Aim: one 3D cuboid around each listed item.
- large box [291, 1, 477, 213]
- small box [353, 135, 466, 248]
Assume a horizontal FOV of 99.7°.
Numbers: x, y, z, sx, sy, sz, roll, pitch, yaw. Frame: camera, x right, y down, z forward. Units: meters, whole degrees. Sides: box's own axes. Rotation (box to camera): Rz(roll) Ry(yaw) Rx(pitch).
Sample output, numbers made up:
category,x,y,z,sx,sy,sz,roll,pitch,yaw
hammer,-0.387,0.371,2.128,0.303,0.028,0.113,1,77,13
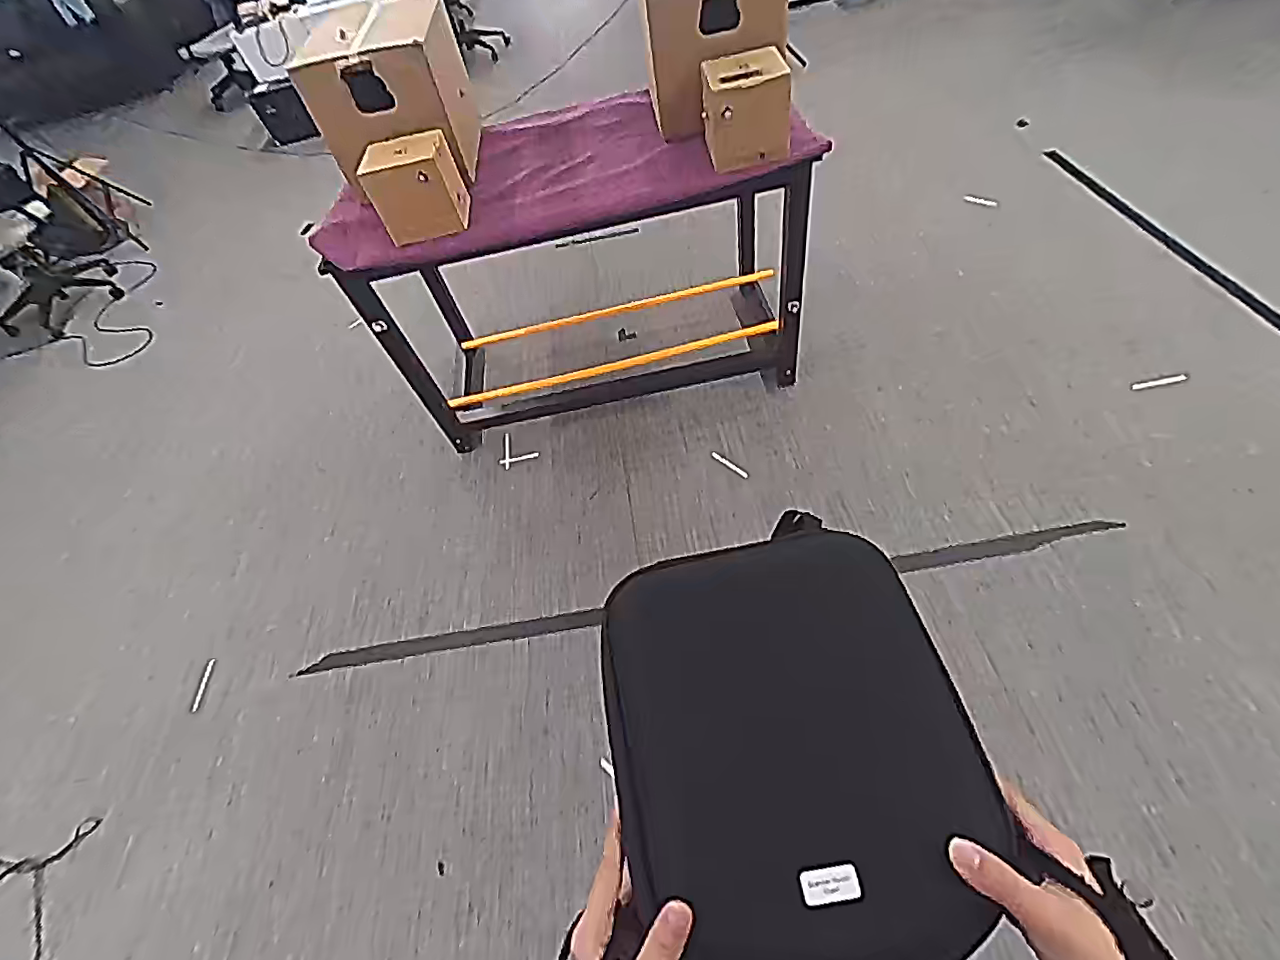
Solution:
category,x,y,z,sx,sy,sz,roll,pitch,yaw
large box,-0.632,-0.975,1.418,0.320,0.320,0.408,-11,56,2
small box,-0.529,-0.669,1.266,0.179,0.176,0.168,-12,52,2
